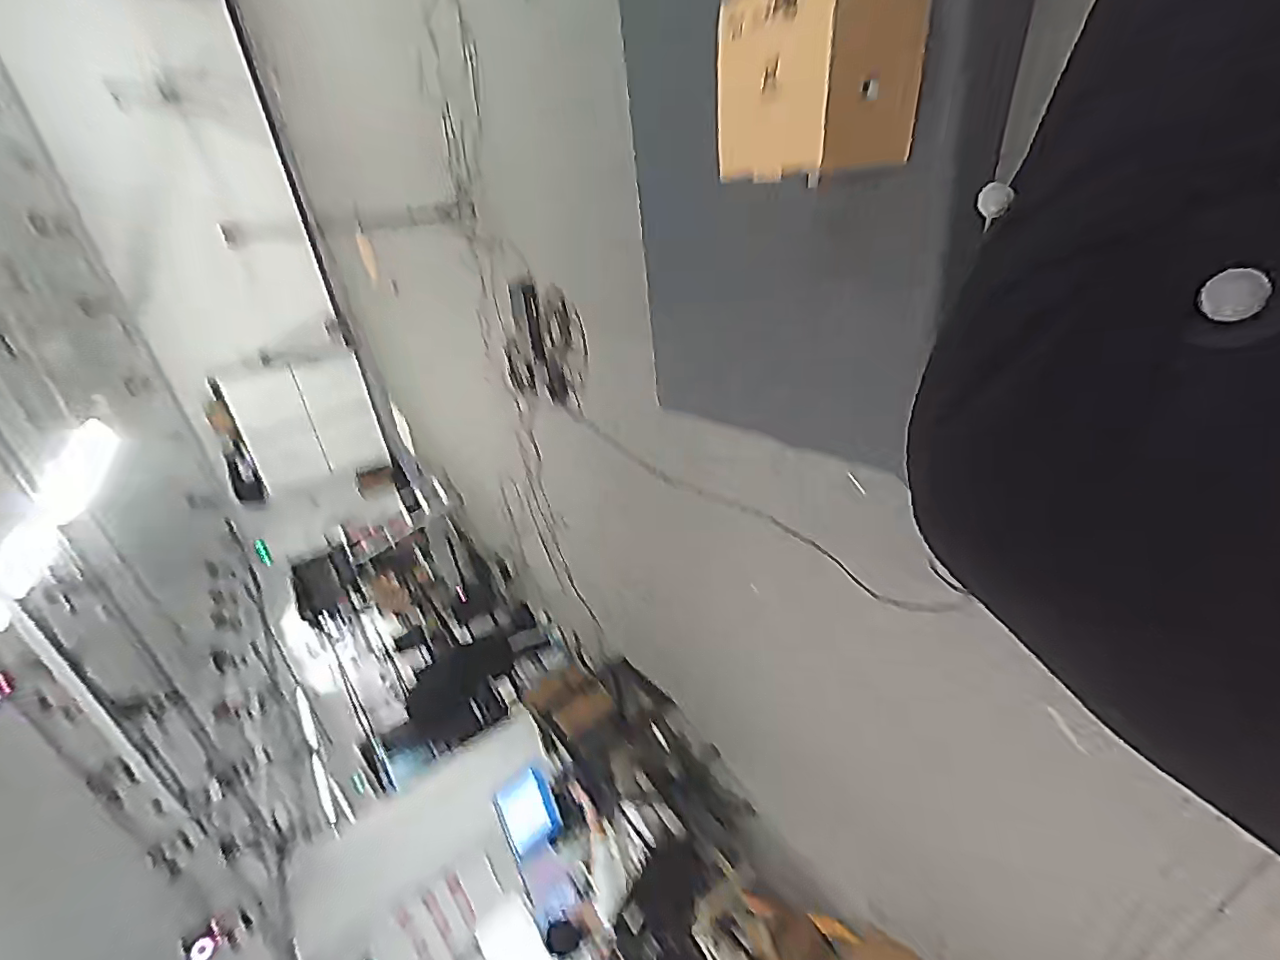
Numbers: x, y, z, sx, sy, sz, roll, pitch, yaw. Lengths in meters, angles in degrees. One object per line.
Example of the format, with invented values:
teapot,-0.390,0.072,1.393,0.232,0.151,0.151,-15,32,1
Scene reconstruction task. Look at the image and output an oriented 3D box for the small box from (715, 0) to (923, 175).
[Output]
small box,0.207,-0.475,0.645,0.168,0.176,0.179,32,136,47
